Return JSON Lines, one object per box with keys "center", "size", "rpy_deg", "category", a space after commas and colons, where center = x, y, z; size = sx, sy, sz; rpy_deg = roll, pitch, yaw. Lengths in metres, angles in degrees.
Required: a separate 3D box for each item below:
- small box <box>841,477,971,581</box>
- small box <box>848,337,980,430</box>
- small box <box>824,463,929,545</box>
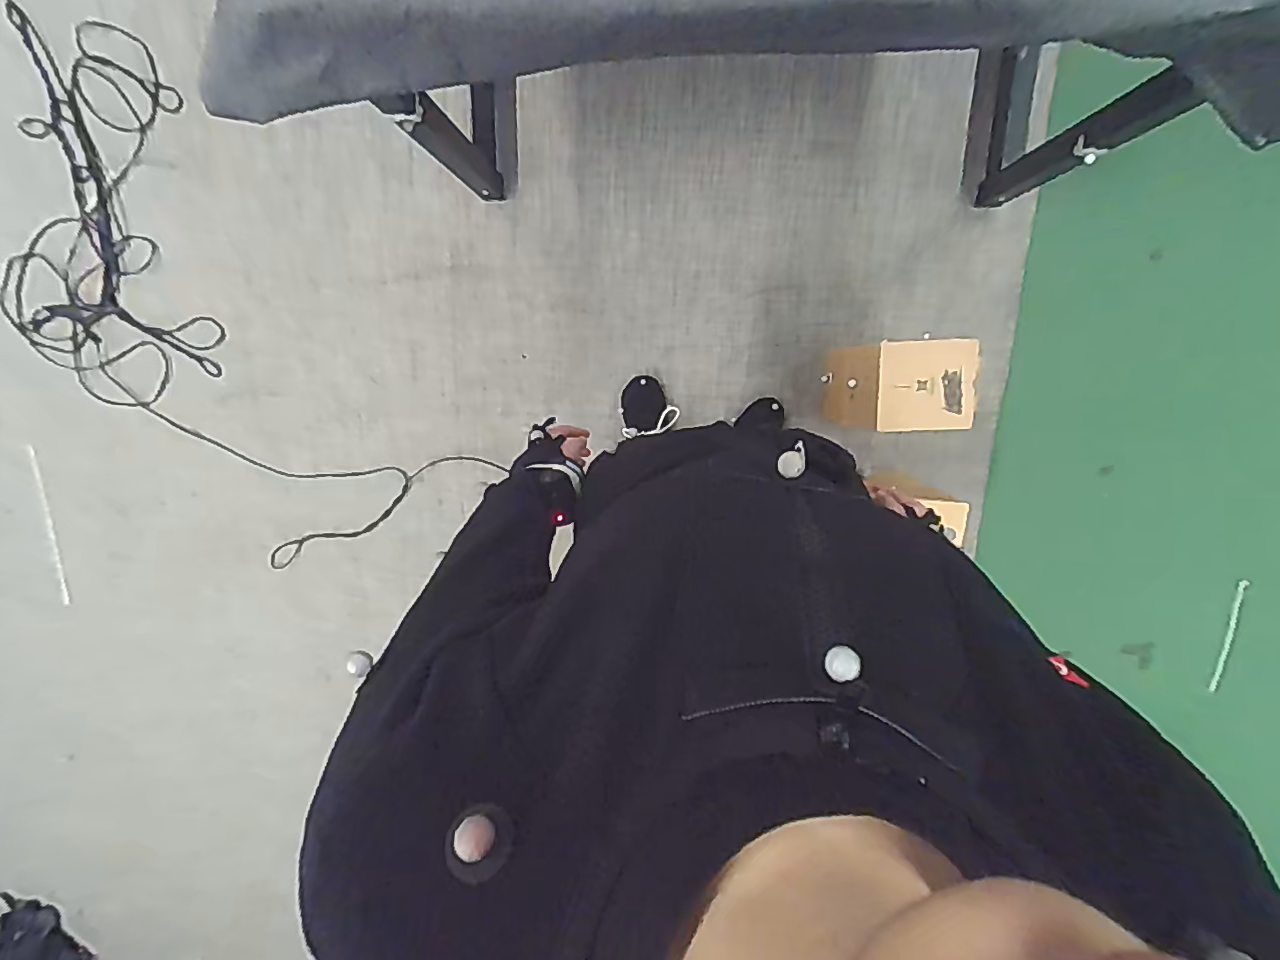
{"center": [0.537, 0.094, 1.116], "size": [0.179, 0.176, 0.168], "rpy_deg": [4, 102, 2], "category": "small box"}
{"center": [0.524, -0.191, 1.056], "size": [0.179, 0.176, 0.168], "rpy_deg": [-2, 101, 4], "category": "small box"}
{"center": [0.545, 0.058, 1.275], "size": [0.179, 0.176, 0.168], "rpy_deg": [4, 103, 4], "category": "small box"}
